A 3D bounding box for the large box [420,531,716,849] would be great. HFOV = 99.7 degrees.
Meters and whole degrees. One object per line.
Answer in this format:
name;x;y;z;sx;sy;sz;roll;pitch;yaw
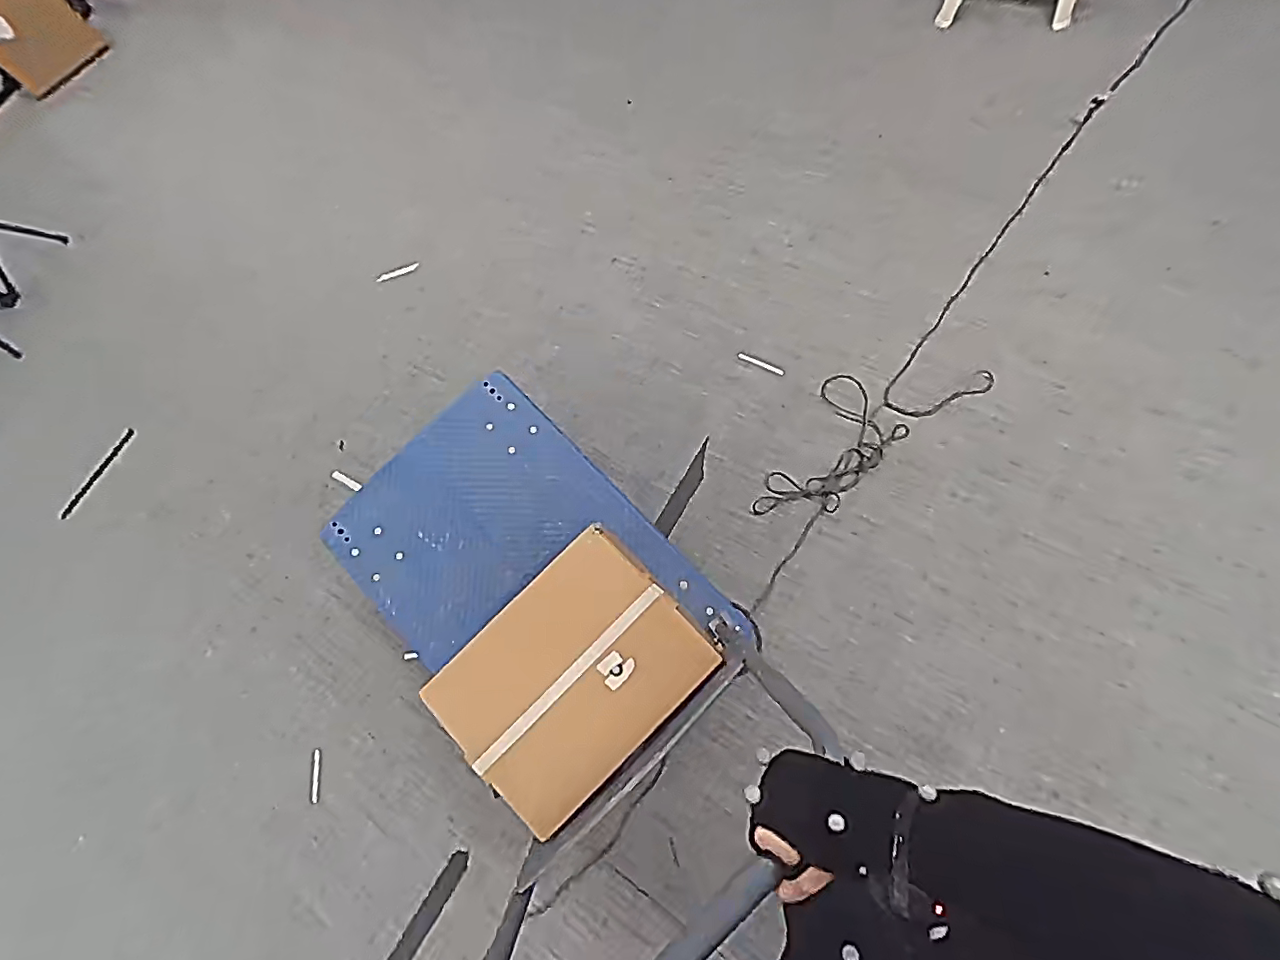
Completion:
large box;-0.112;0.356;1.020;0.320;0.320;0.408;44;84;8
